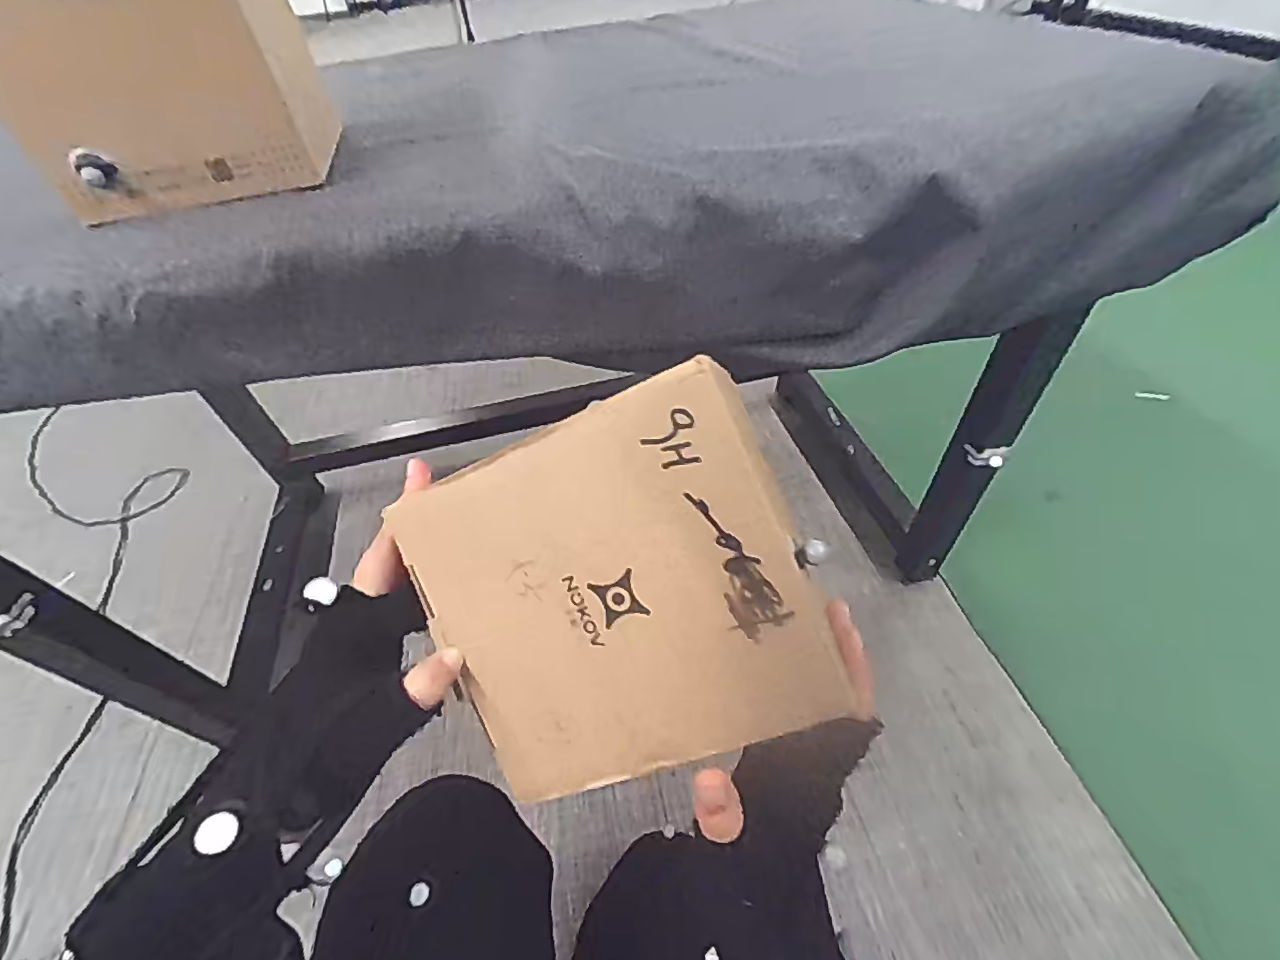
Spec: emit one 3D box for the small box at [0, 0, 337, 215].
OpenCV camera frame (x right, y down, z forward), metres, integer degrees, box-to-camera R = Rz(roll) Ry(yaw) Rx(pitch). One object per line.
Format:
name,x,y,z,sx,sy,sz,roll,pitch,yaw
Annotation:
small box,-0.347,-0.310,0.392,0.168,0.176,0.179,-15,46,-8
